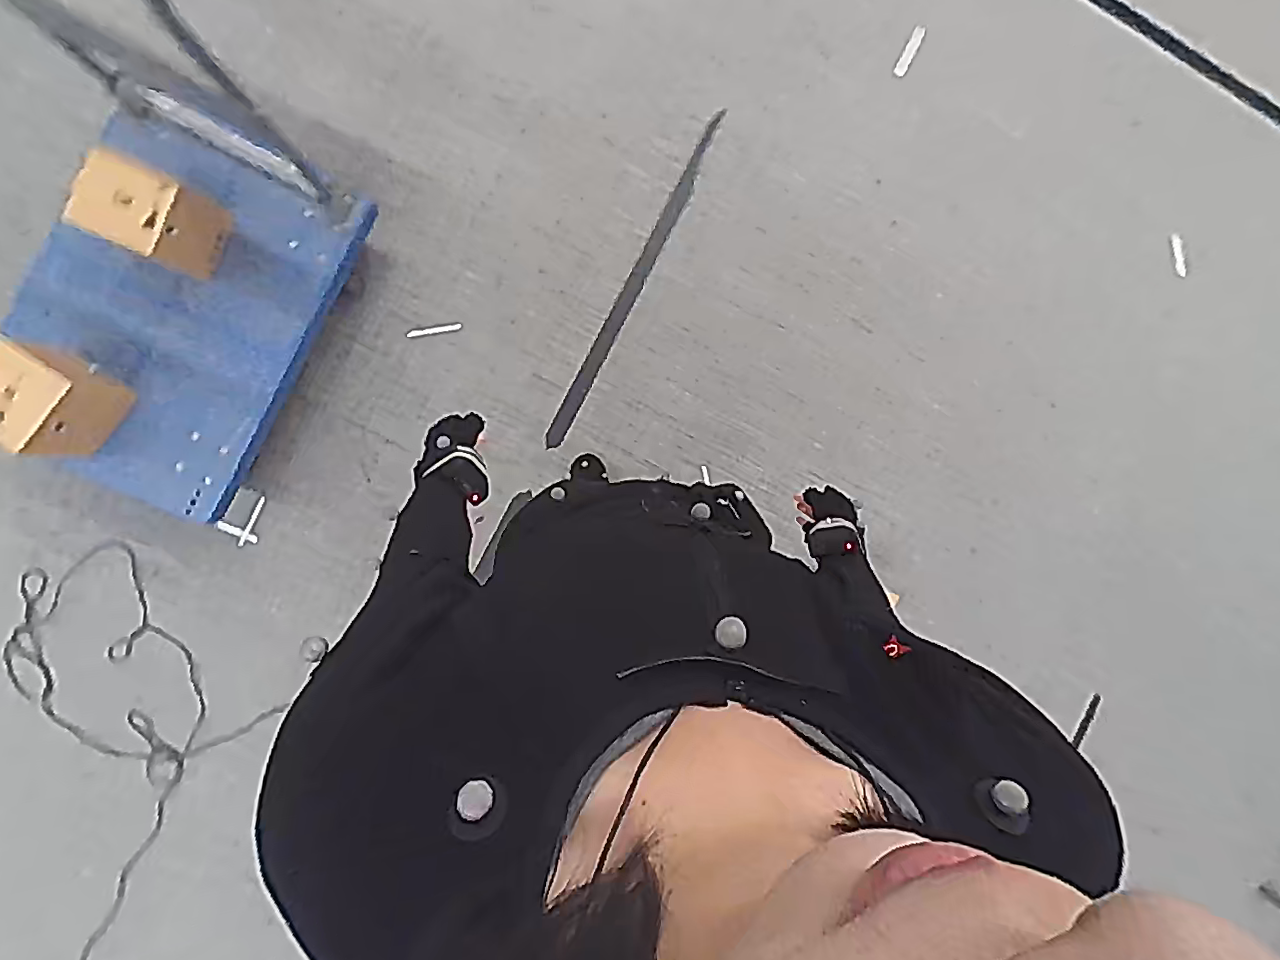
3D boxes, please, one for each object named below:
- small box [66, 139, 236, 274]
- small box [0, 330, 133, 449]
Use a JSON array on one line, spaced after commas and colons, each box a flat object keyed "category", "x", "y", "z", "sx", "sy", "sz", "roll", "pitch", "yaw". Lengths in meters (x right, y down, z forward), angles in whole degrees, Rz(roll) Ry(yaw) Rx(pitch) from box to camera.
[{"category": "small box", "x": -1.019, "y": -0.563, "z": 1.143, "sx": 0.179, "sy": 0.176, "sz": 0.168, "roll": 23, "pitch": 90, "yaw": -5}, {"category": "small box", "x": -1.242, "y": -0.178, "z": 1.134, "sx": 0.168, "sy": 0.176, "sz": 0.179, "roll": 37, "pitch": 87, "yaw": -5}]
